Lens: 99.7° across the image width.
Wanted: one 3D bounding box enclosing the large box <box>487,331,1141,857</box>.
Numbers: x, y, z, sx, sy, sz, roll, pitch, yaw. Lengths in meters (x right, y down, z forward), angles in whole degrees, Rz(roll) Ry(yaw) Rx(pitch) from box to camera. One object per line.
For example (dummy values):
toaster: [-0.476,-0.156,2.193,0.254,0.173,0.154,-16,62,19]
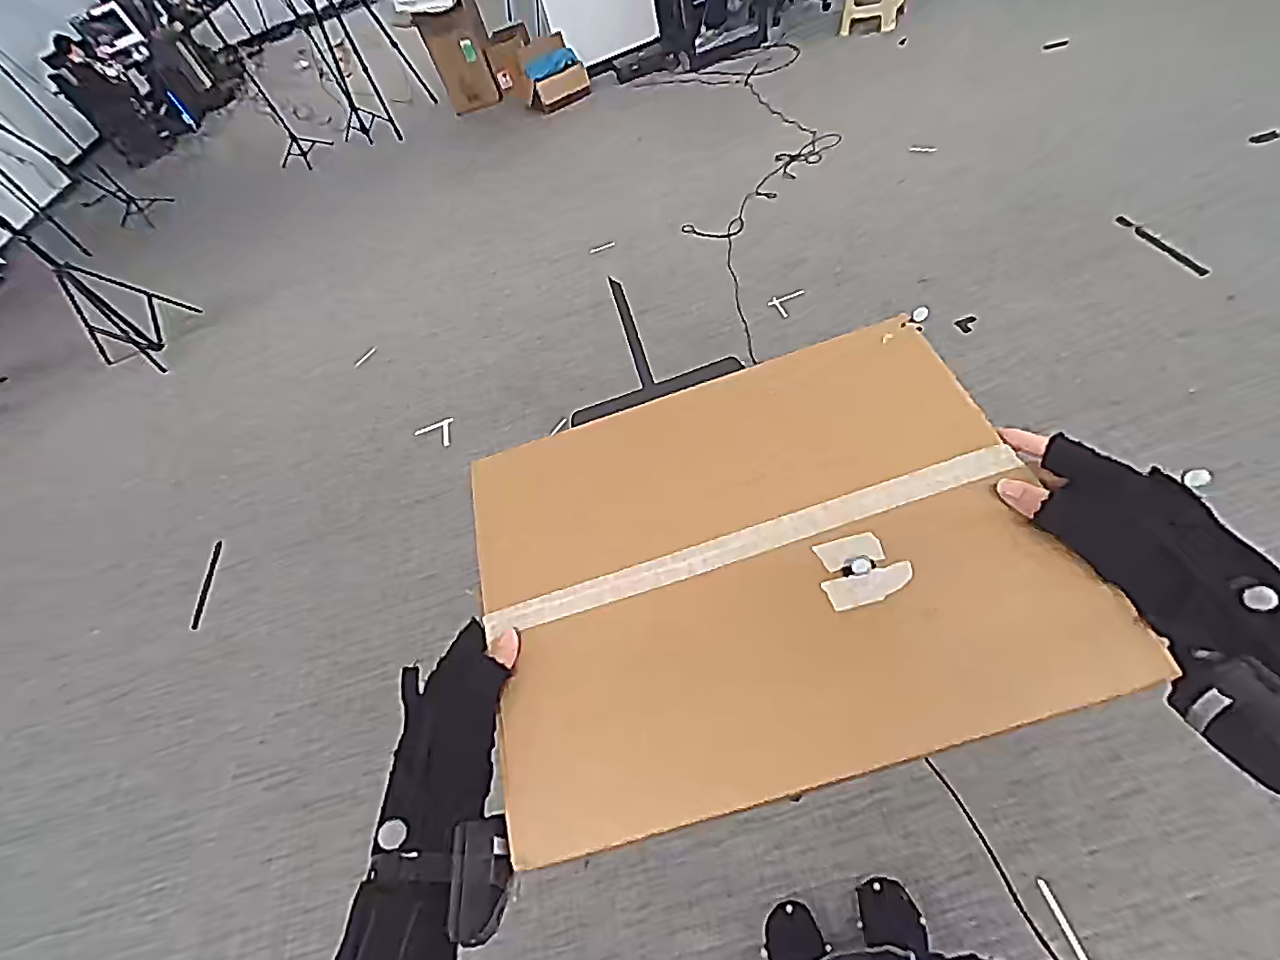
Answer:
large box: [0.111,0.126,0.538,0.408,0.320,0.320,-19,59,2]
